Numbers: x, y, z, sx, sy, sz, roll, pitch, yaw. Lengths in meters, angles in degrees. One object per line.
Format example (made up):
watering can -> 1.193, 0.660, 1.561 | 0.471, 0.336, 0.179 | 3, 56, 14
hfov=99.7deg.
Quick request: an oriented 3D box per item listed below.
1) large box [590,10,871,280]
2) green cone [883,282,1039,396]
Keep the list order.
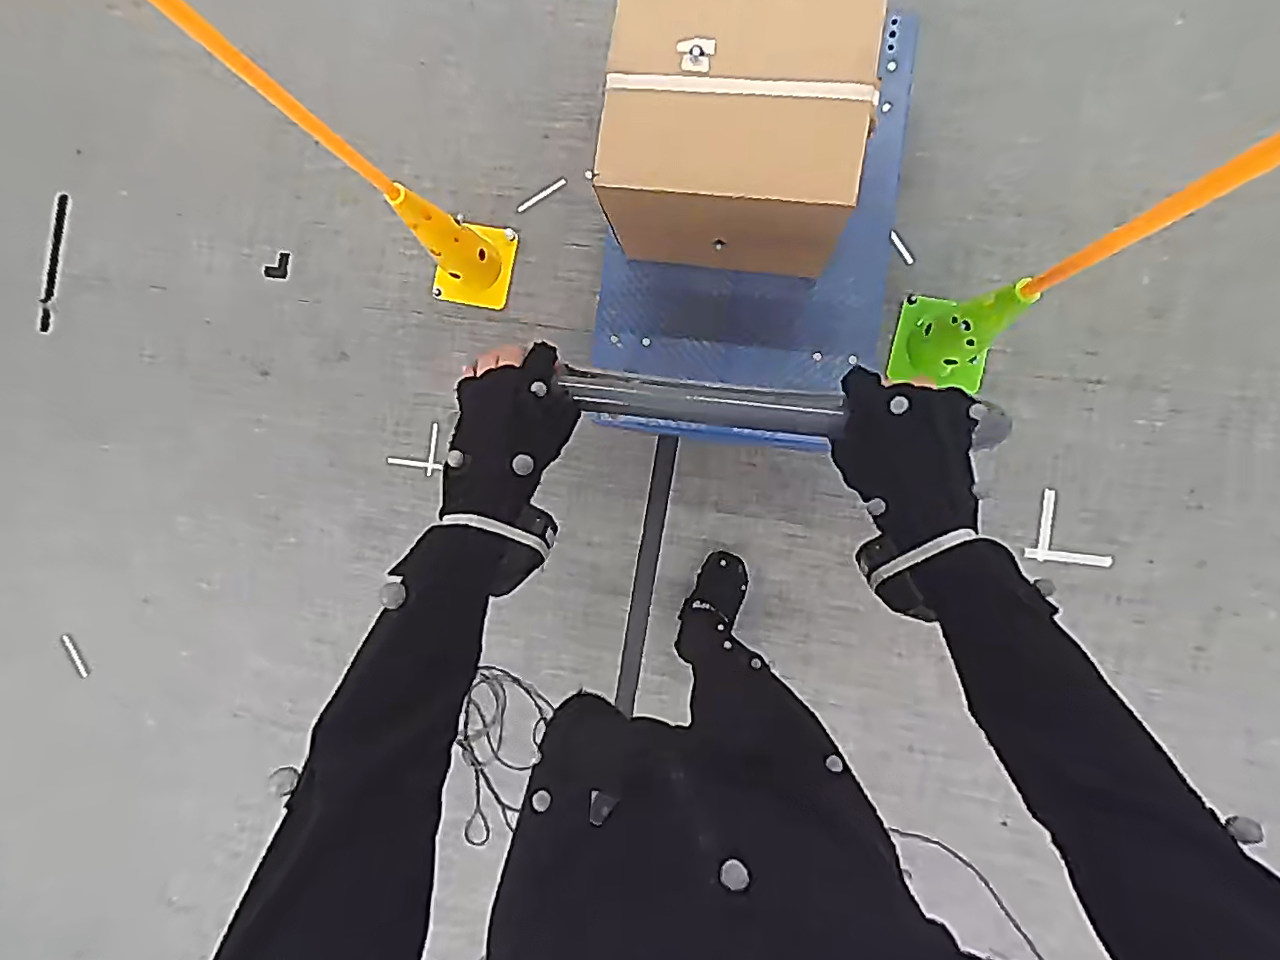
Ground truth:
large box -> 0.157, -0.575, 0.984 | 0.408, 0.320, 0.320 | 9, 92, 9
green cone -> 0.646, -0.301, 1.056 | 0.202, 0.368, 0.200 | 12, 92, 7
